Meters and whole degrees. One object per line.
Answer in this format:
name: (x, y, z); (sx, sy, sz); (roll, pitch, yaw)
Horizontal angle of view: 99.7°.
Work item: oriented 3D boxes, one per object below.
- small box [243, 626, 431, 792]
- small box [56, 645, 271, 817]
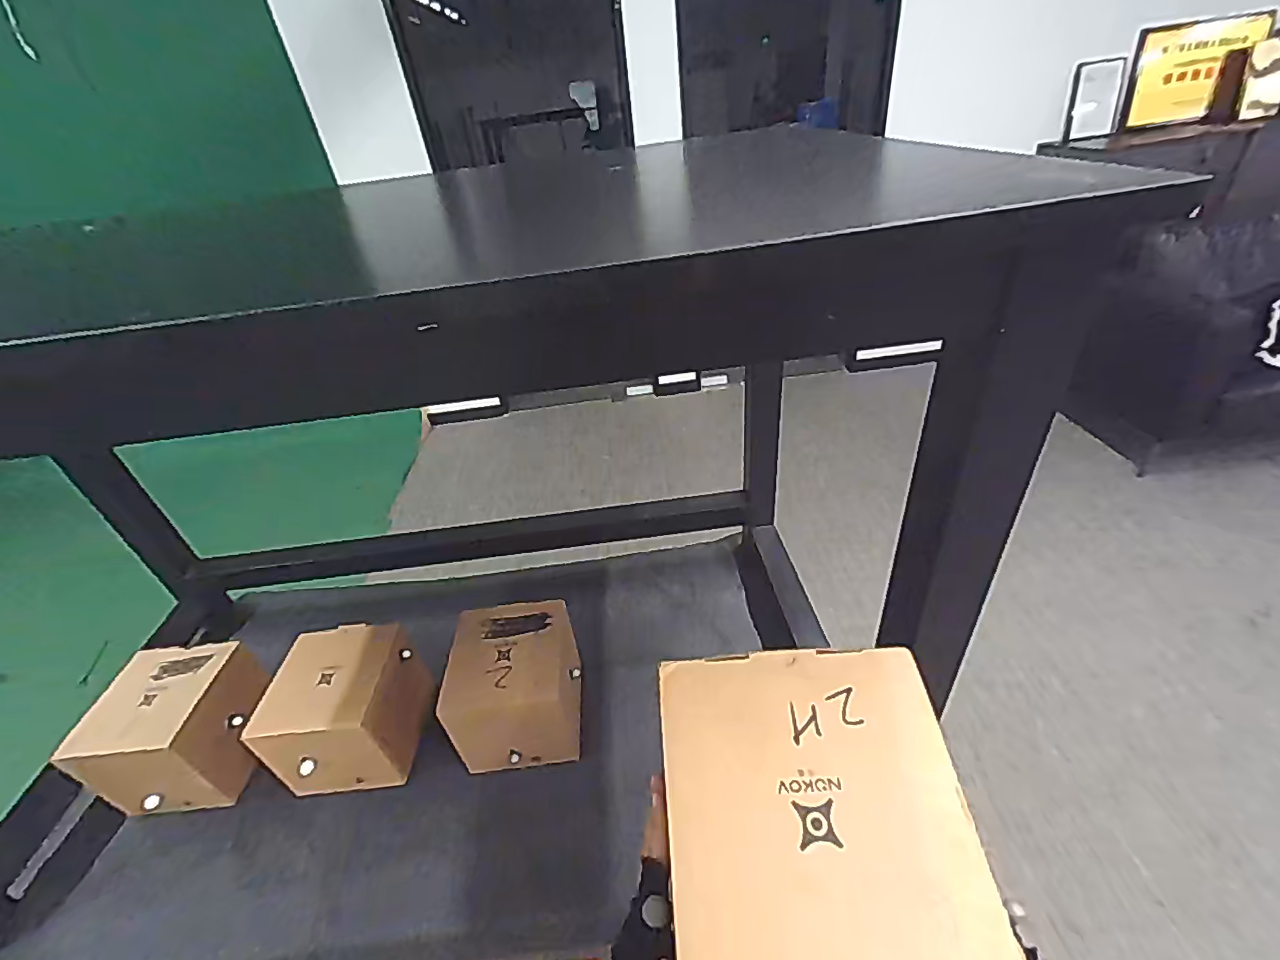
small box: (-0.442, 0.354, 0.828); (0.168, 0.176, 0.179); (-7, 35, 1)
small box: (-0.693, 0.382, 0.829); (0.168, 0.176, 0.179); (-7, 36, 1)
